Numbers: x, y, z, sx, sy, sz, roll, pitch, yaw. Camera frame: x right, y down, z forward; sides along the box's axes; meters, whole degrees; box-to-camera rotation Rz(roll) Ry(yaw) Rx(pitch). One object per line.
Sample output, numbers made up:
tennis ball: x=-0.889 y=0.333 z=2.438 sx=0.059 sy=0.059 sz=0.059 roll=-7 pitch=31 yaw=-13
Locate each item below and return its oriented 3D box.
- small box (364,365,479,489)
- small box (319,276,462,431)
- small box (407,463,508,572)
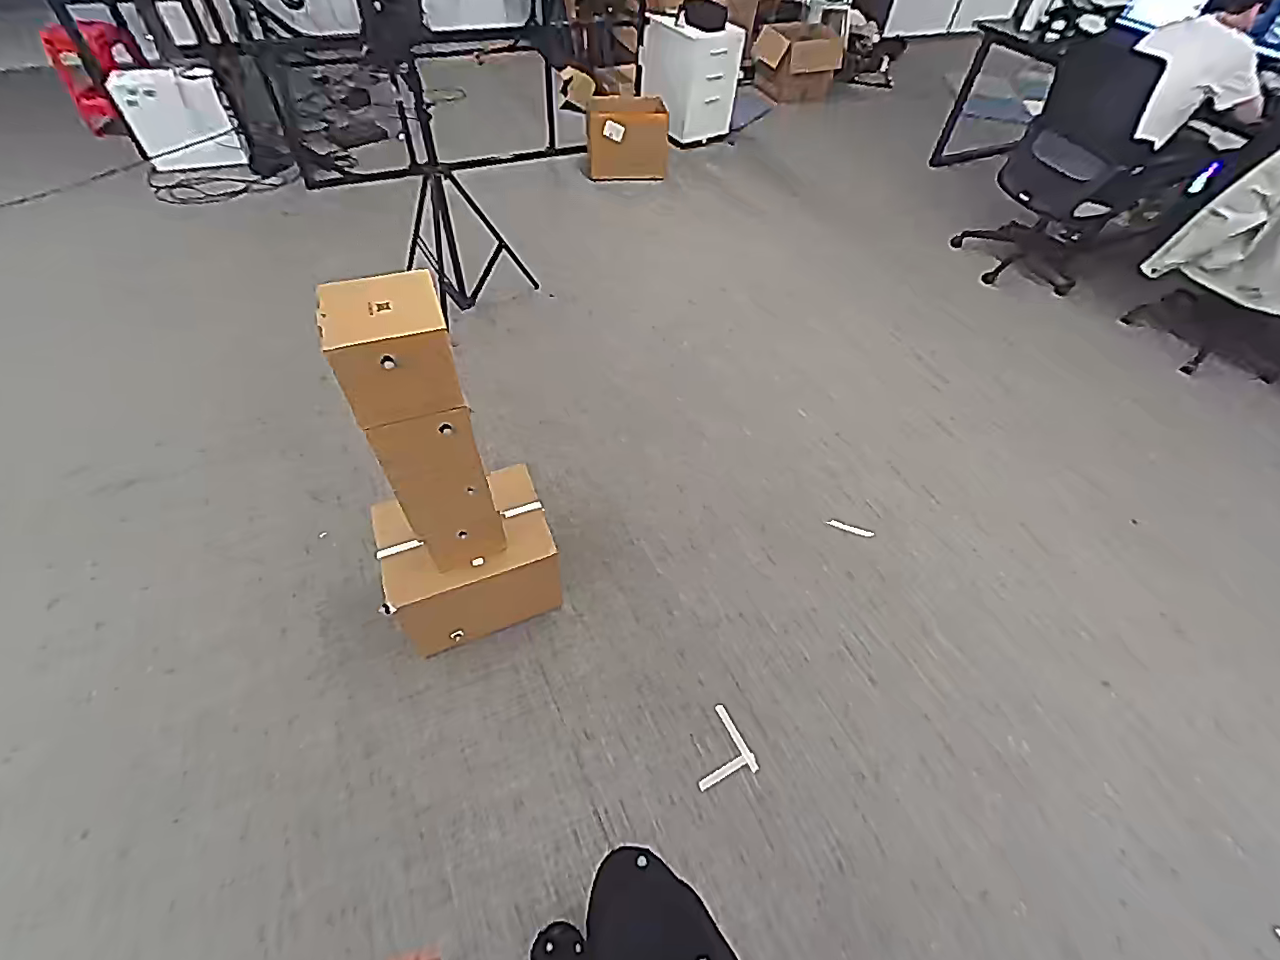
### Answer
small box: x=-0.413 y=-0.109 z=1.027 sx=0.179 sy=0.176 sz=0.168 roll=-17 pitch=55 yaw=-16
small box: x=-0.404 y=-0.208 z=0.899 sx=0.179 sy=0.176 sz=0.168 roll=-16 pitch=56 yaw=-16
small box: x=-0.429 y=0.092 z=1.286 sx=0.179 sy=0.176 sz=0.168 roll=-19 pitch=57 yaw=-19
